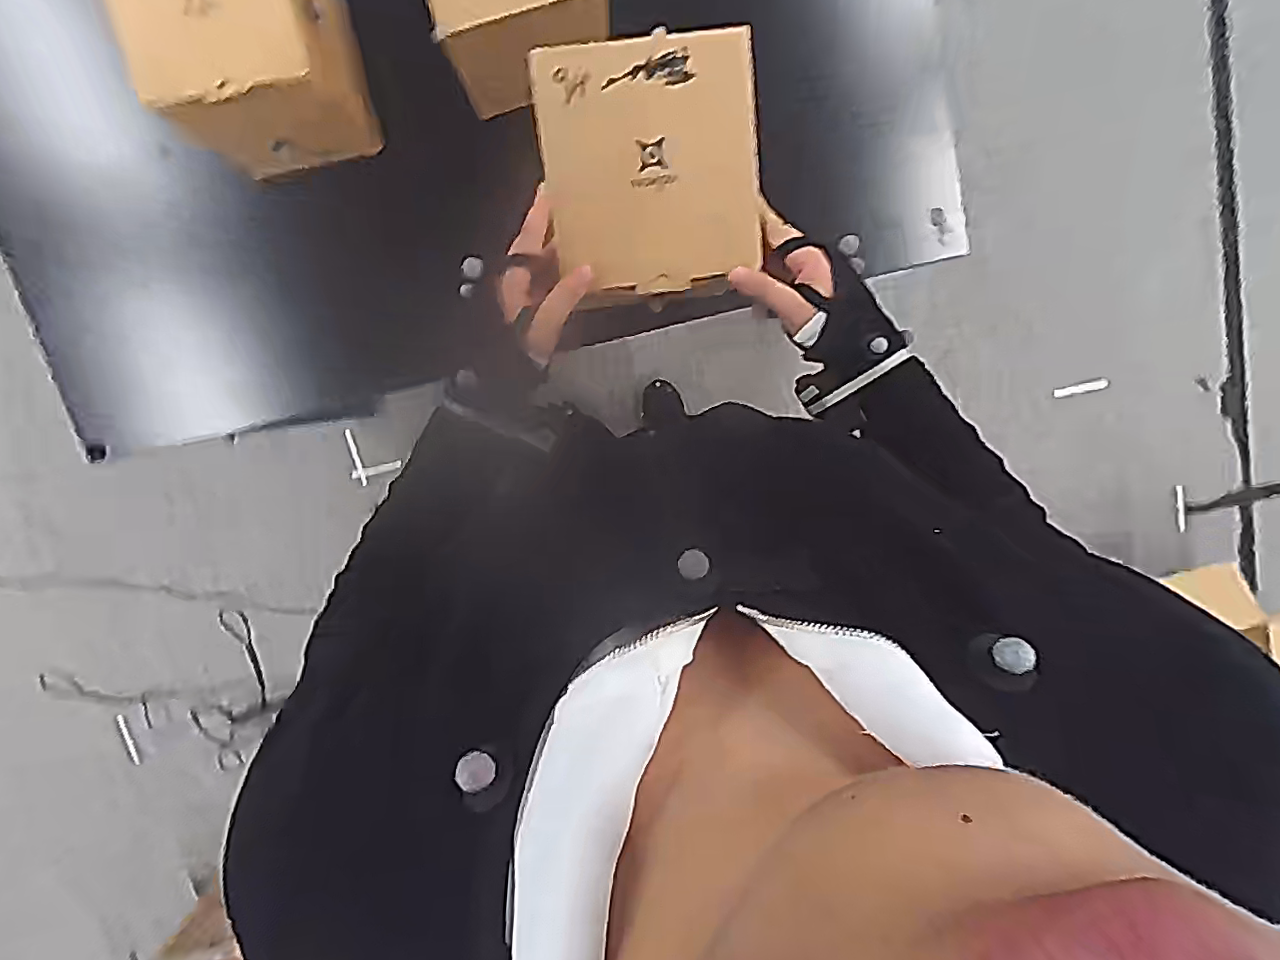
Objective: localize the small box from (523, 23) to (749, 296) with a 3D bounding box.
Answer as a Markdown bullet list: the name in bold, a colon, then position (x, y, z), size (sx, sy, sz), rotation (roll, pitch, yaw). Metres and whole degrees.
- **small box**: position (-0.001, -0.267, 0.496), size (0.168, 0.176, 0.179), rotation (-7, 105, -2)

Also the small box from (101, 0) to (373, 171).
- **small box**: position (-0.420, -0.469, 0.579), size (0.168, 0.176, 0.179), rotation (-13, 100, -1)
